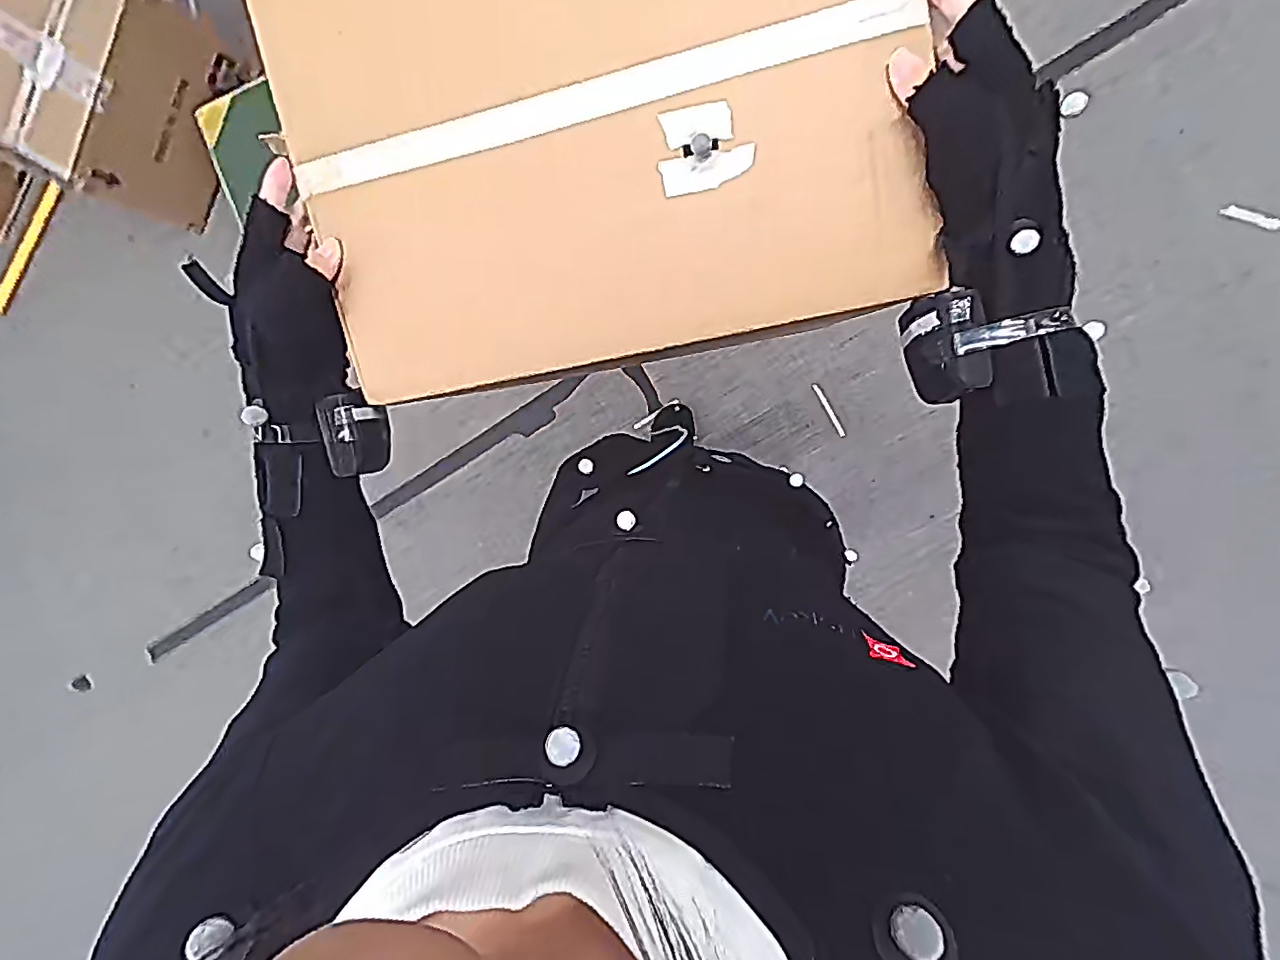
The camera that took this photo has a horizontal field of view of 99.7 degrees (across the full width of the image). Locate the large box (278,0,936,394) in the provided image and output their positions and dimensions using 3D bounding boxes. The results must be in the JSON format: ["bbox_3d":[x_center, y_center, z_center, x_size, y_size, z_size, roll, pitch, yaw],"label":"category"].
[{"bbox_3d":[-0.013,-0.275,0.499,0.408,0.320,0.320,-9,102,8],"label":"large box"}]
